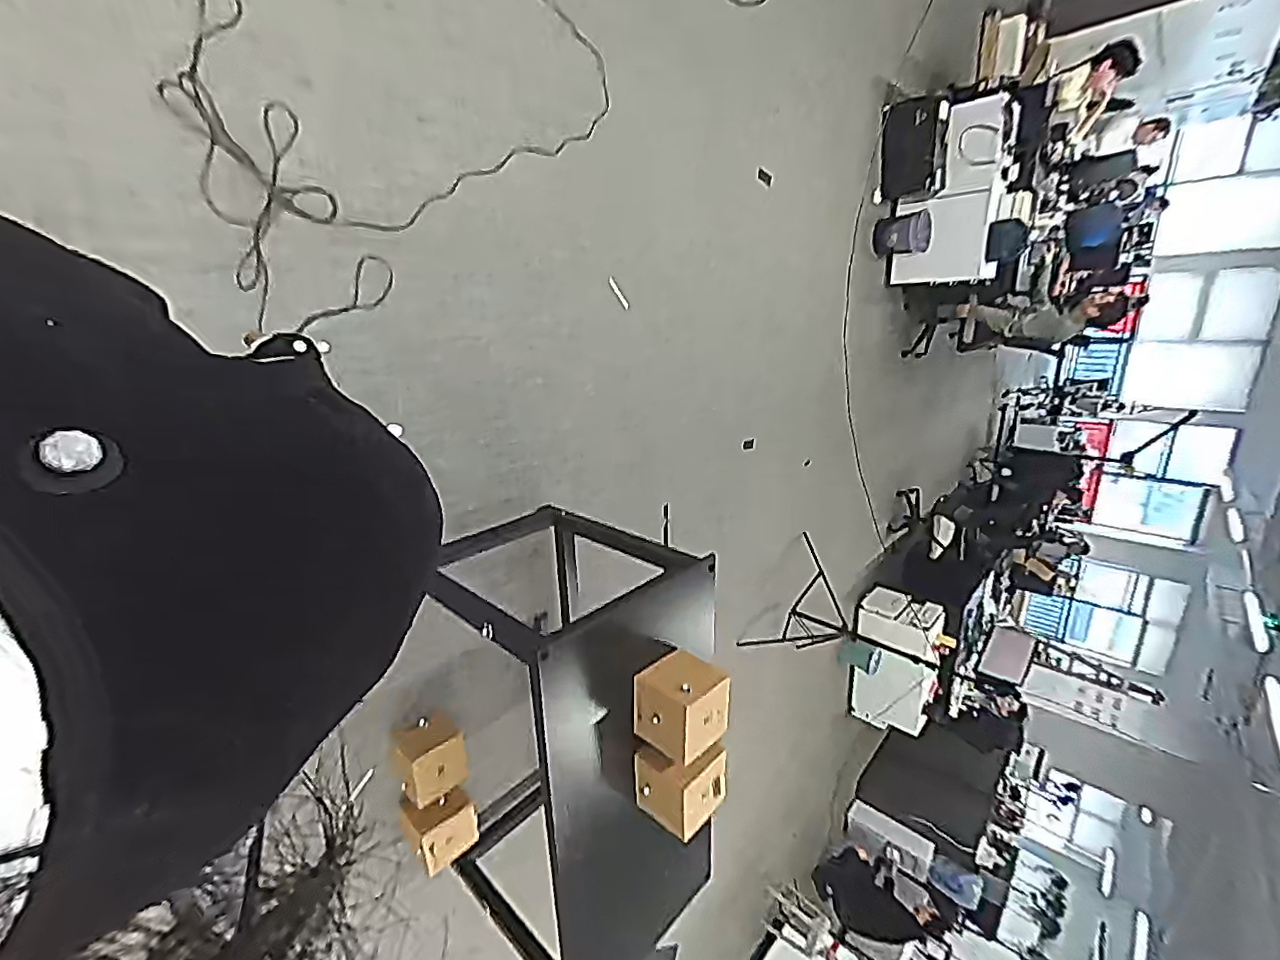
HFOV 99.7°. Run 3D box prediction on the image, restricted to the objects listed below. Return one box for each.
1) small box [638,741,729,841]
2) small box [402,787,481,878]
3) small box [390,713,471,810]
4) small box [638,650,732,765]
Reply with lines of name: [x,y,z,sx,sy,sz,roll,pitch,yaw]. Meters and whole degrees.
small box: [0.112,0.770,1.404,0.179,0.176,0.168,-19,114,-43]
small box: [-0.646,1.123,1.761,0.179,0.176,0.168,-21,114,-44]
small box: [-0.655,0.870,1.689,0.168,0.176,0.179,-20,114,-44]
small box: [0.108,0.554,1.342,0.179,0.176,0.168,-15,112,-45]
